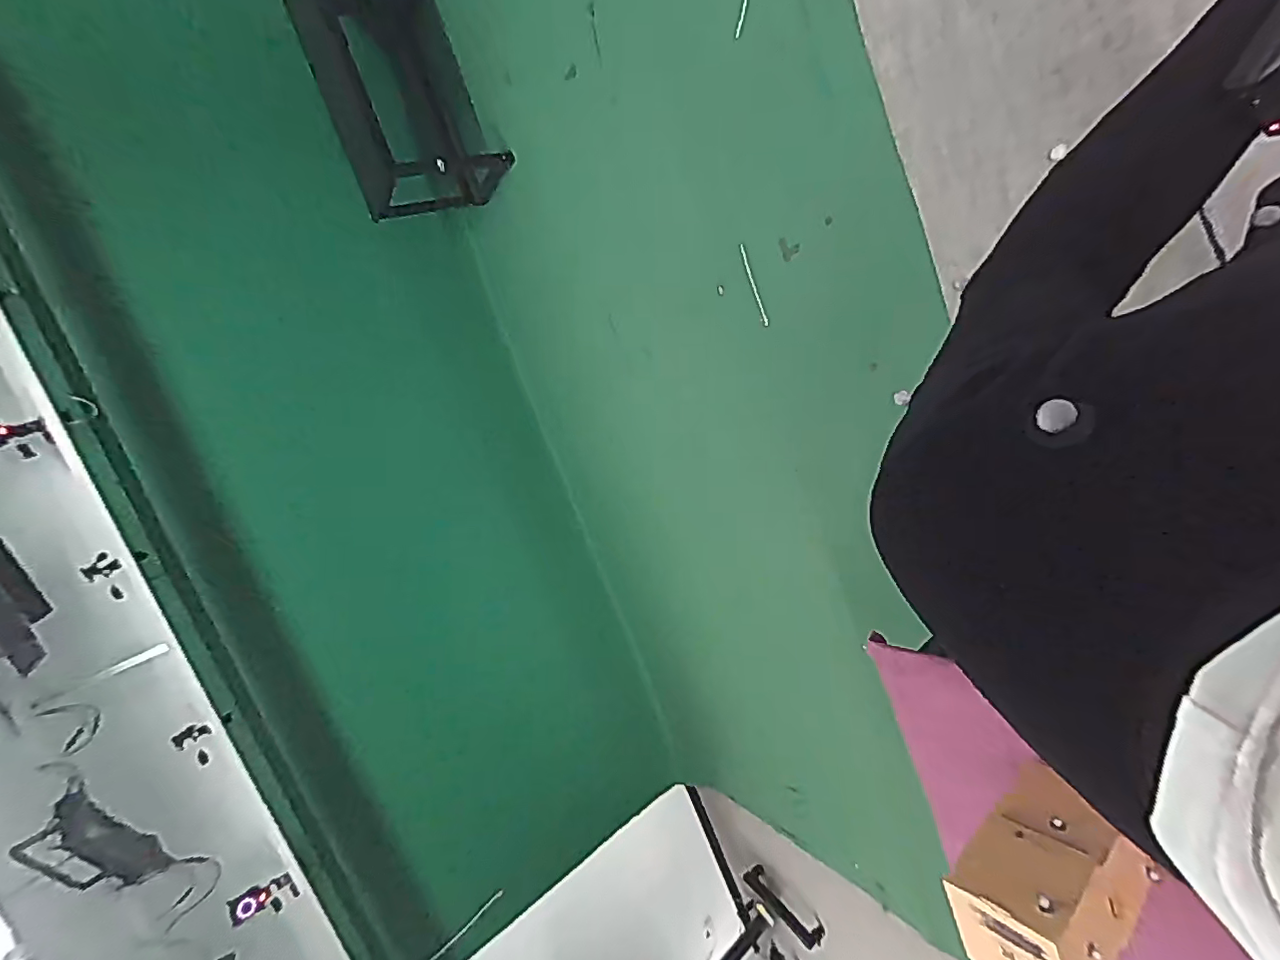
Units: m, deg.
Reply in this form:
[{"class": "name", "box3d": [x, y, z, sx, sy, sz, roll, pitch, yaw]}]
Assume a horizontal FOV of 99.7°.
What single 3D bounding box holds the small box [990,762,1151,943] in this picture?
[{"class": "small box", "box3d": [0.778, 0.651, 0.973, 0.179, 0.176, 0.168, -5, 108, 59]}]
